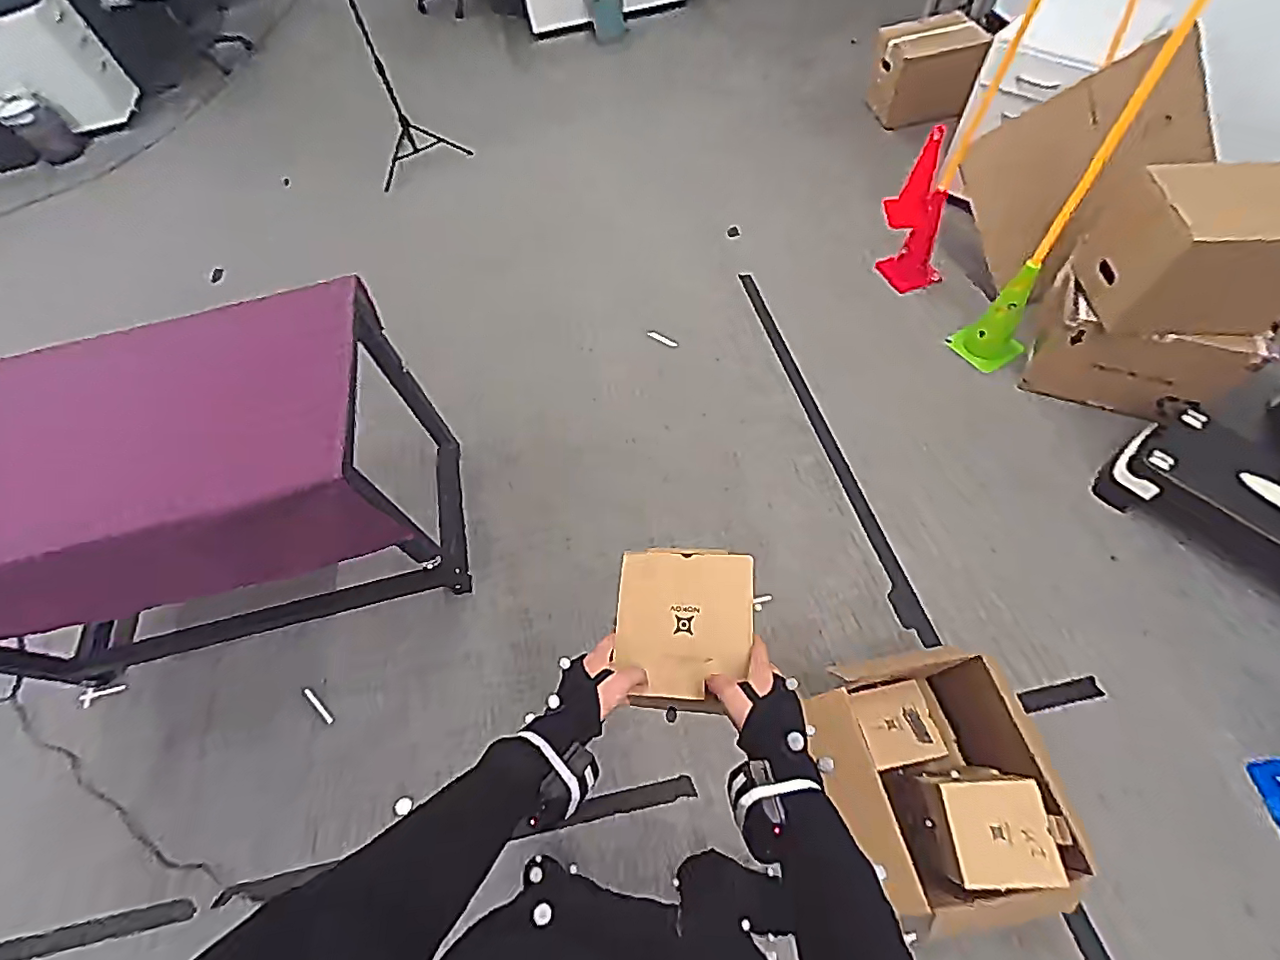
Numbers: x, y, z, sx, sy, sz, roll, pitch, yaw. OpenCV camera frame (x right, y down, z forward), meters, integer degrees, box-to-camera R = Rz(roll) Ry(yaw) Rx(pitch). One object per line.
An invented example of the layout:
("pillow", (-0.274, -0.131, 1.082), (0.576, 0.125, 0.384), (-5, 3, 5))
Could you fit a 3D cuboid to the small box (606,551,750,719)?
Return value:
("small box", (0.058, 0.211, 0.727), (0.168, 0.176, 0.179), (2, 62, 9))
